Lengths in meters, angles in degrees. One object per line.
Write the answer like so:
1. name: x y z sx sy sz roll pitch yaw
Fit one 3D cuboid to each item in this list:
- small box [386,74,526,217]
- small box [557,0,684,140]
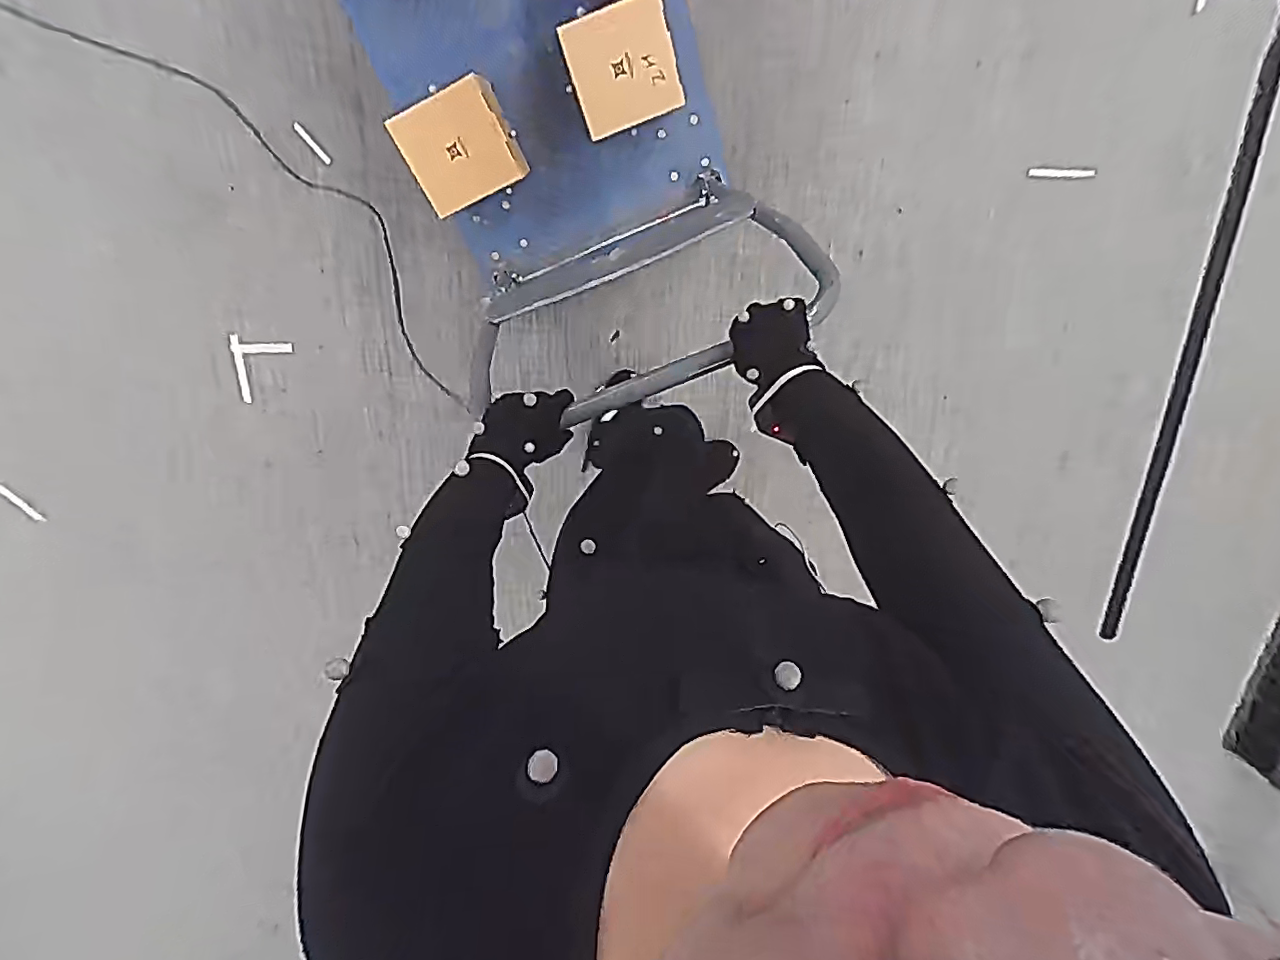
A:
1. small box: -0.329 -0.616 1.008 0.179 0.176 0.168 -24 122 7
2. small box: -0.035 -0.728 0.967 0.179 0.176 0.168 -18 123 6
